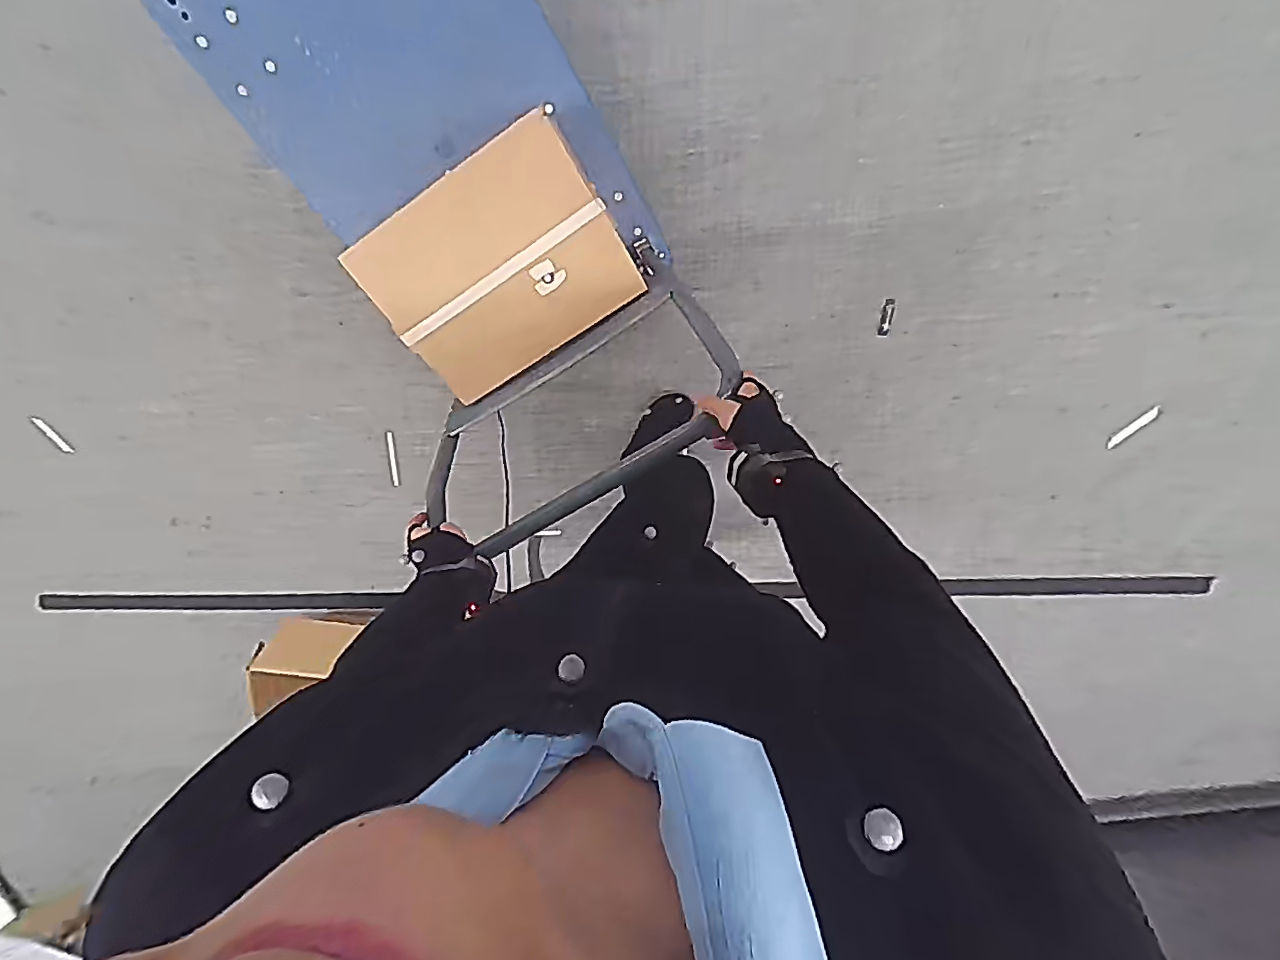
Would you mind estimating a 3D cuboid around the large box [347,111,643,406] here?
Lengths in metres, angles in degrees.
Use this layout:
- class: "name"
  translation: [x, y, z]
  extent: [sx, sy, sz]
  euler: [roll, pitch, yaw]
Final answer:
- class: "large box"
  translation: [-0.256, -0.417, 1.041]
  extent: [0.408, 0.320, 0.320]
  euler: [-31, 120, 10]
